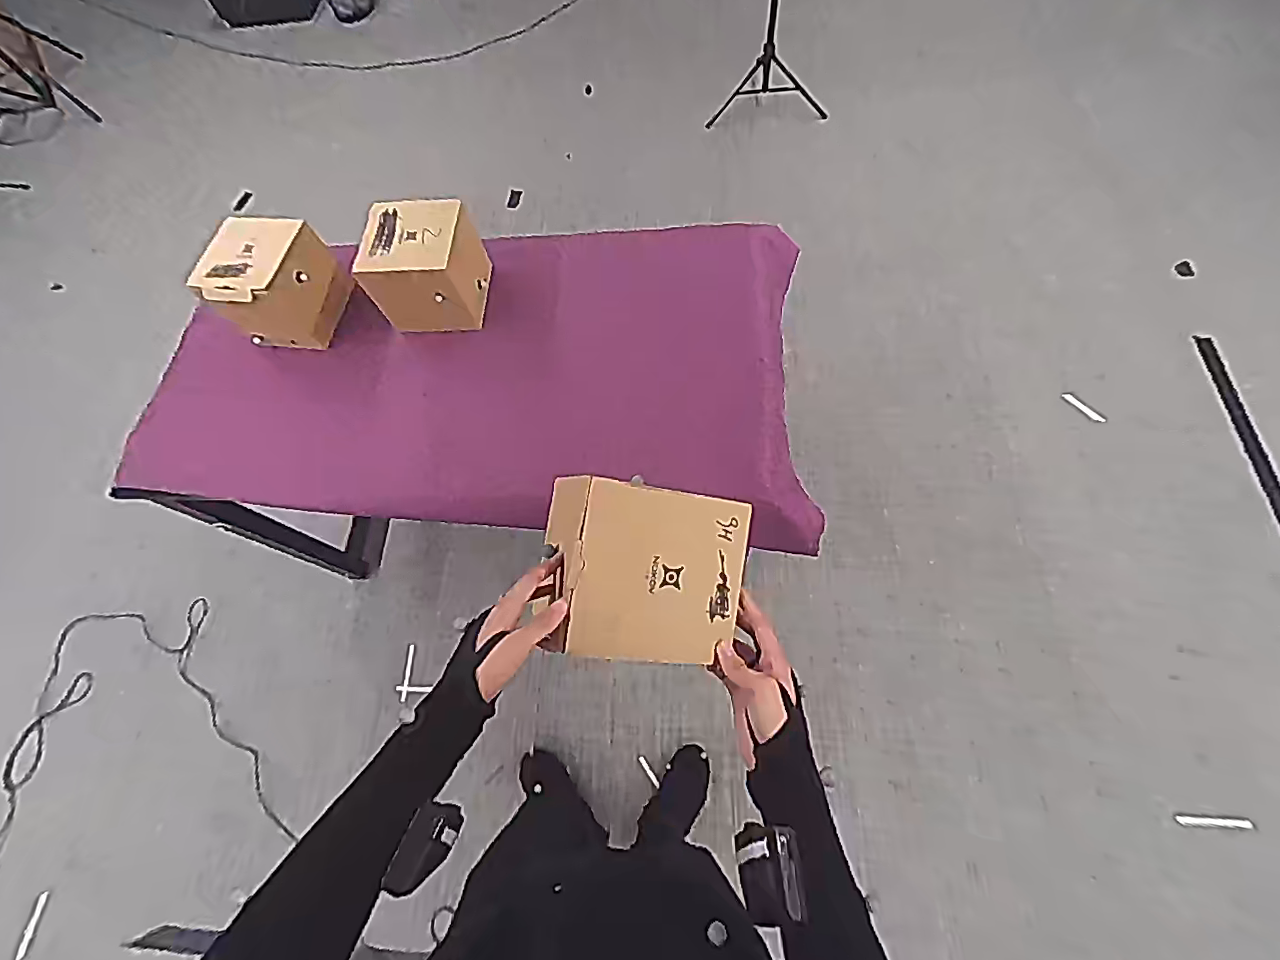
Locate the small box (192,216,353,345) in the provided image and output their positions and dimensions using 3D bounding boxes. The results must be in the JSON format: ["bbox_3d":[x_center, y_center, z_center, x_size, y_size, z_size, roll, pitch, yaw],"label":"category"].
[{"bbox_3d":[-0.699,-0.383,1.053,0.168,0.176,0.179,6,68,8],"label":"small box"}]
